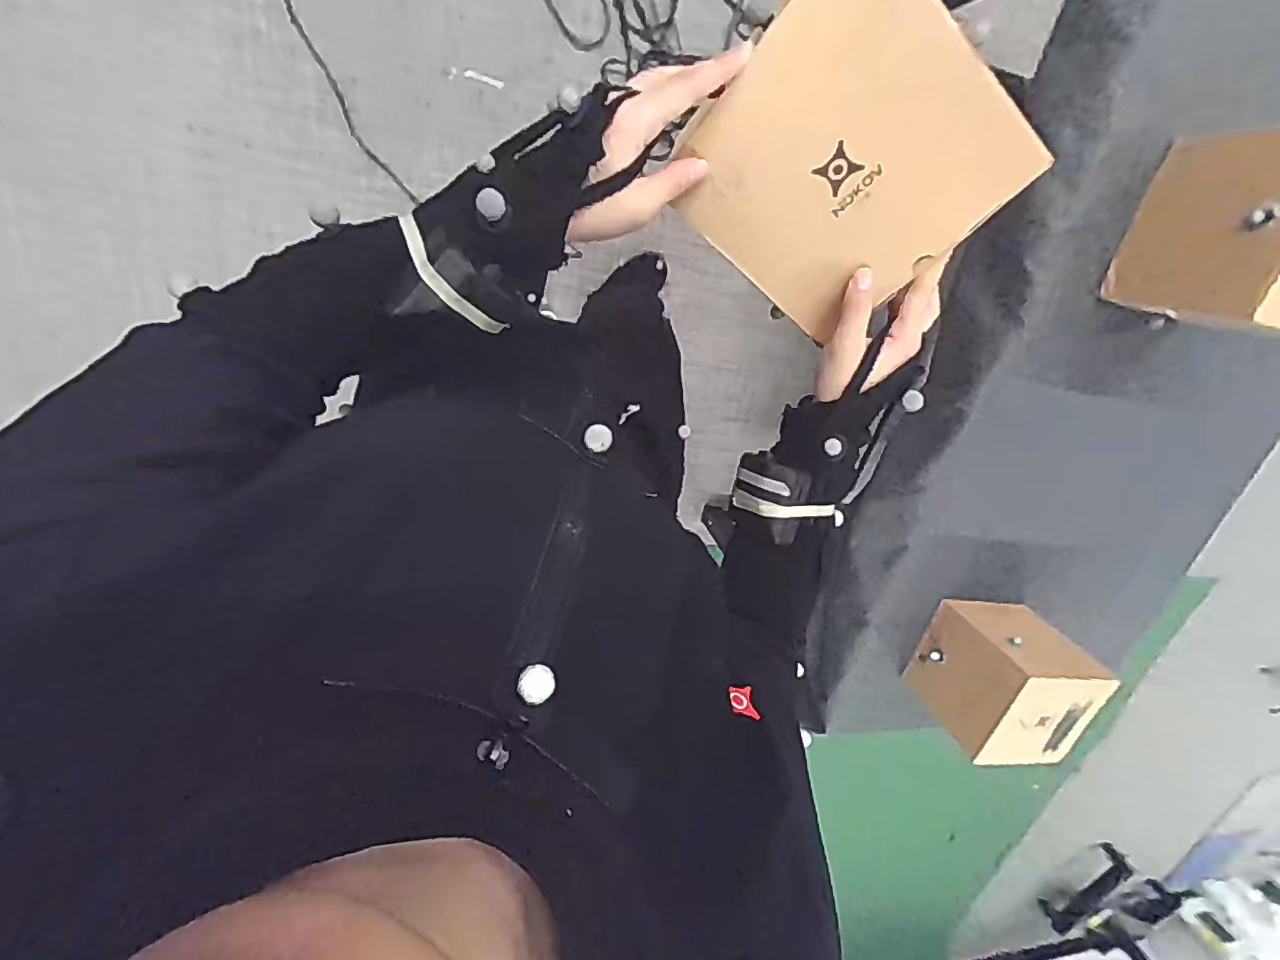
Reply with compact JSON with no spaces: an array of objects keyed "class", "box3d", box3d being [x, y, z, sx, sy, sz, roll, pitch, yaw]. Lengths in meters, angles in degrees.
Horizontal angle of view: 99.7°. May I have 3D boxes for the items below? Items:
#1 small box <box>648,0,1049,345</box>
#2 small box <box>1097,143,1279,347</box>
[{"class":"small box","box3d":[0.128,-0.238,0.386,0.179,0.176,0.168,34,127,-20]},{"class":"small box","box3d":[0.665,-0.253,0.589,0.168,0.176,0.179,6,114,-16]}]
